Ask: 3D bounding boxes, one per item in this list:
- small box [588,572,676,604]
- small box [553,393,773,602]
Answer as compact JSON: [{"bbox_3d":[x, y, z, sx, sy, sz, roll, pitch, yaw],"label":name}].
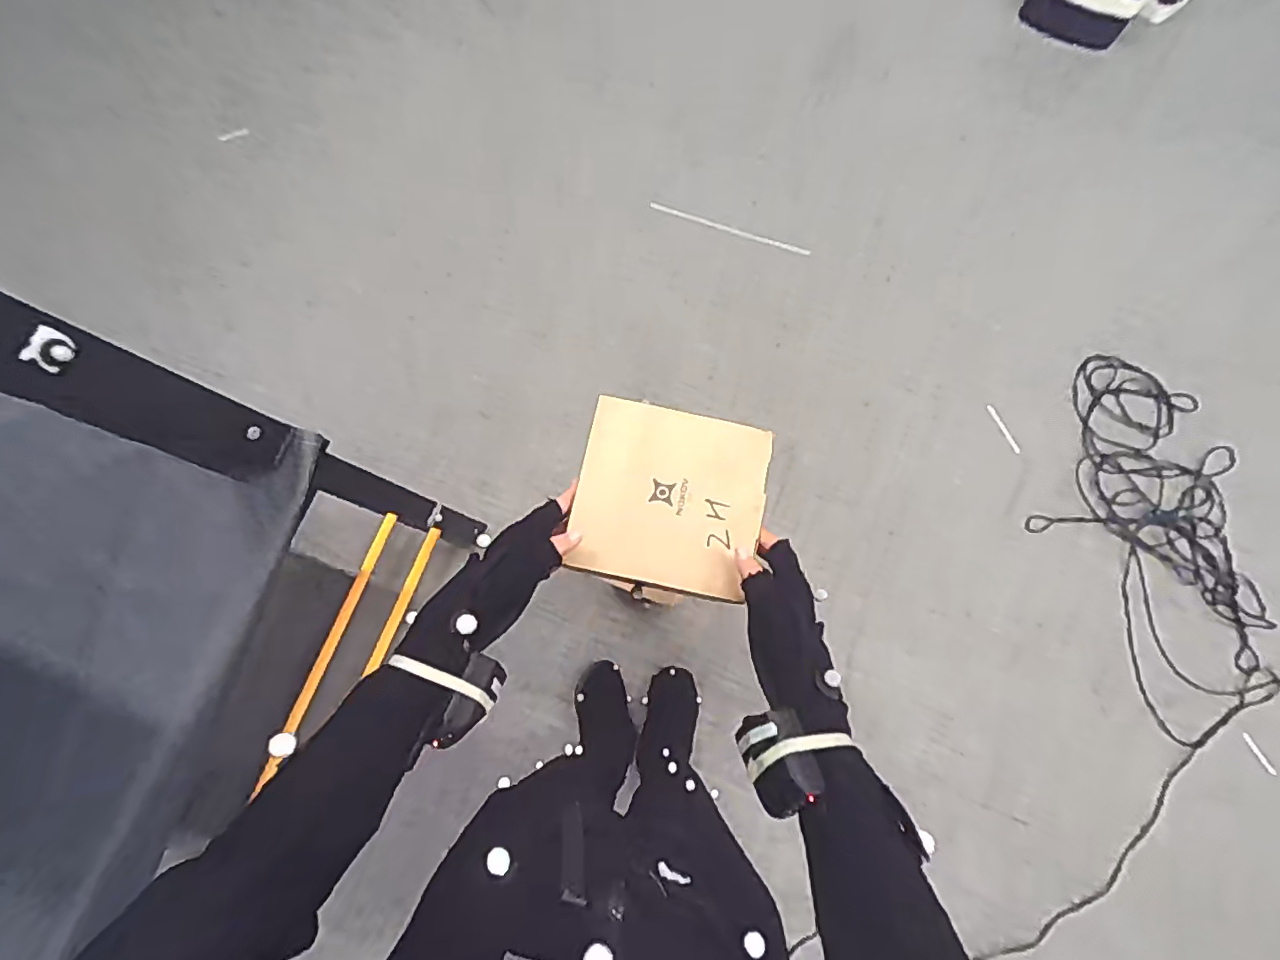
[{"bbox_3d":[0.003,0.110,0.945,0.179,0.176,0.168,20,80,7],"label":"small box"},{"bbox_3d":[0.021,0.028,0.571,0.179,0.176,0.168,13,80,0],"label":"small box"}]
